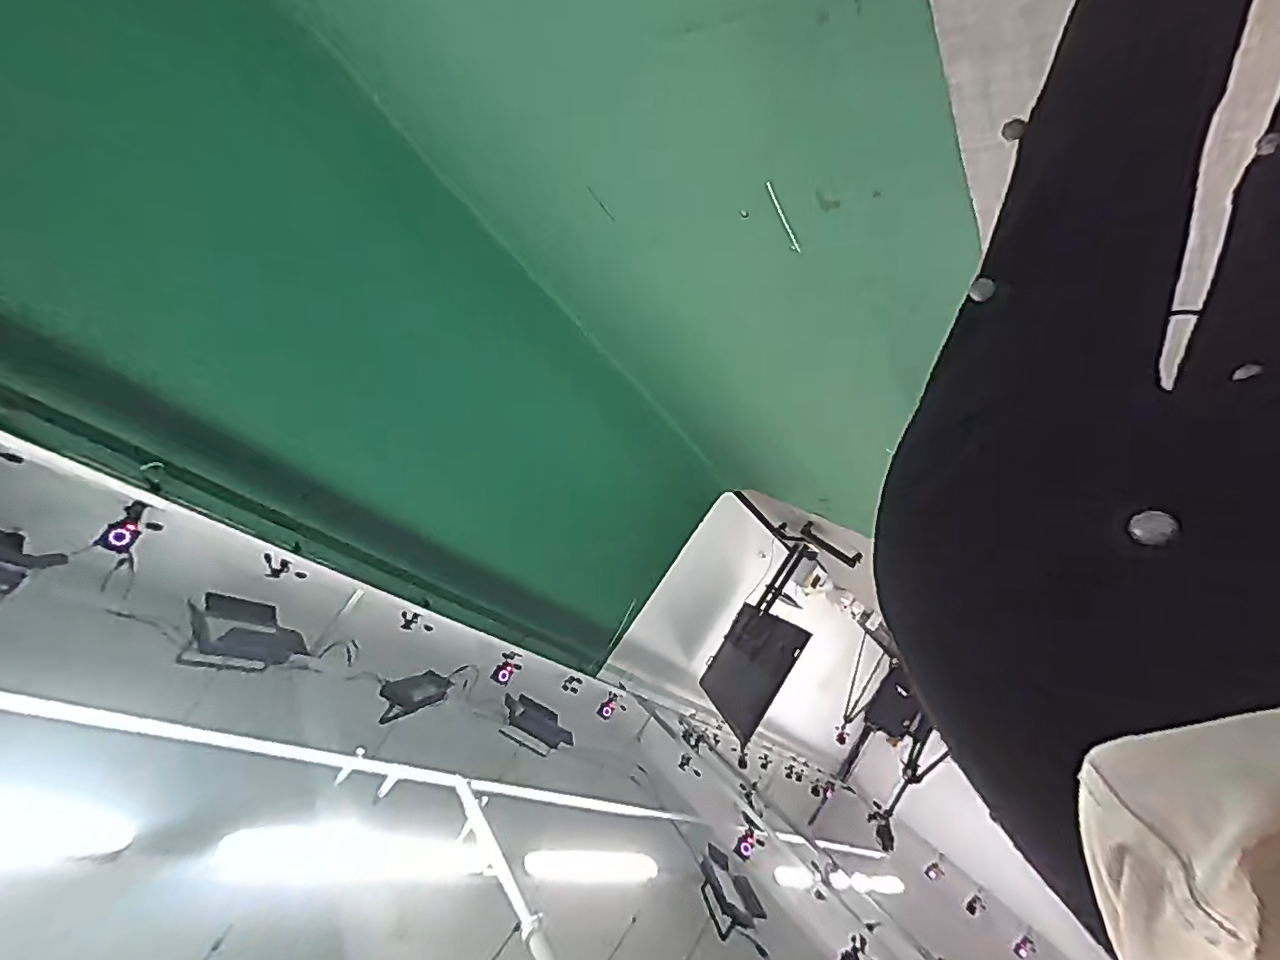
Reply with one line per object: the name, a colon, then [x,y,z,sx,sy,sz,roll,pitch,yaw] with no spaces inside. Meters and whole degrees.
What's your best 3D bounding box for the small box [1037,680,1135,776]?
small box: [1.262,0.697,1.531,0.168,0.176,0.179,27,169,50]
